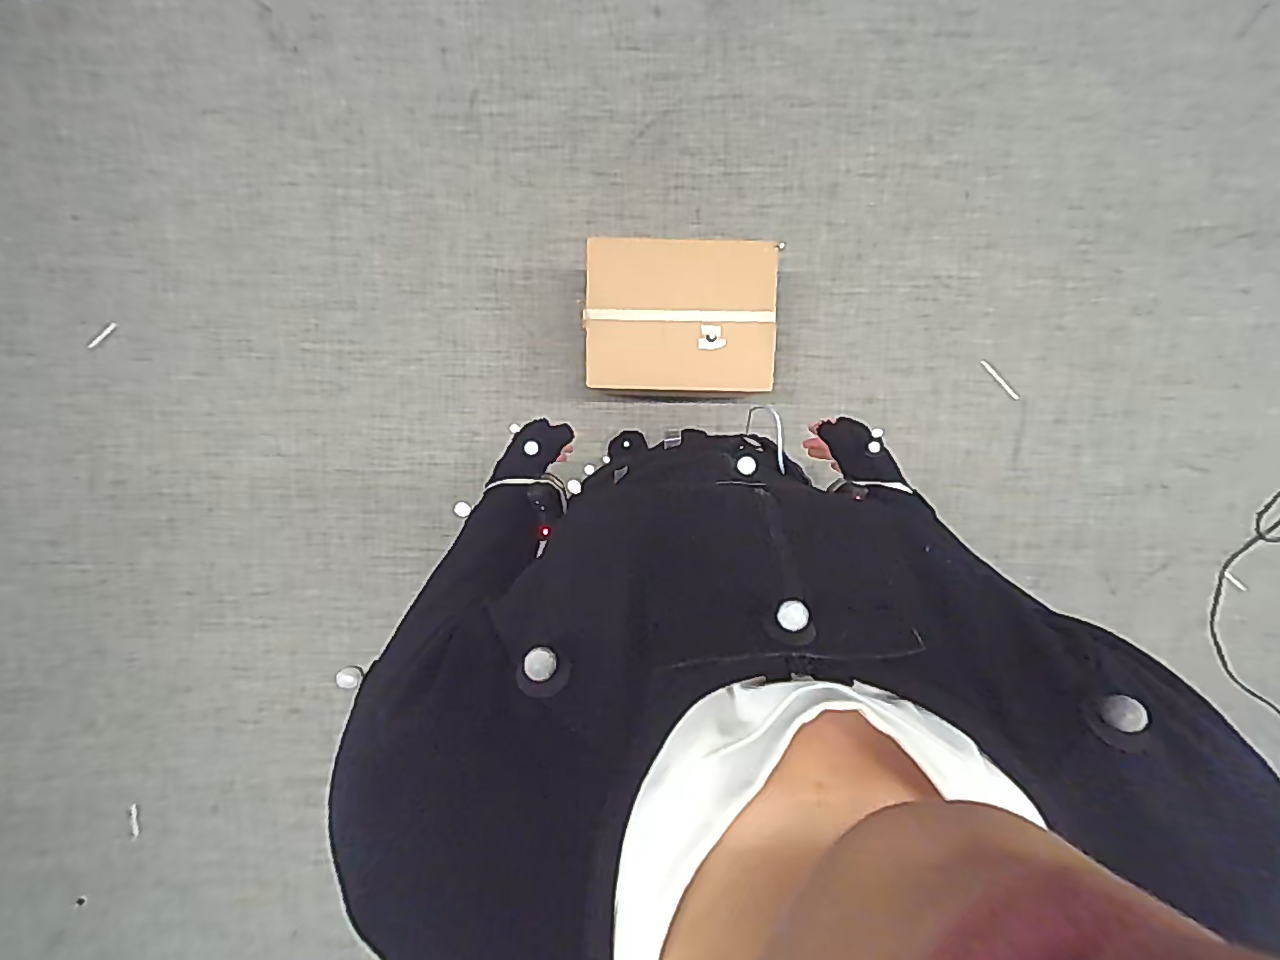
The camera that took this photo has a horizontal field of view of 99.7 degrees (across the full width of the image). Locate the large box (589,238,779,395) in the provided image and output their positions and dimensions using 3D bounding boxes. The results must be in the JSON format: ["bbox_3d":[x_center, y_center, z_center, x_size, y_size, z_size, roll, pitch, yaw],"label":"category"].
[{"bbox_3d":[0.091,-0.367,1.293,0.408,0.320,0.320,1,97,0],"label":"large box"}]
